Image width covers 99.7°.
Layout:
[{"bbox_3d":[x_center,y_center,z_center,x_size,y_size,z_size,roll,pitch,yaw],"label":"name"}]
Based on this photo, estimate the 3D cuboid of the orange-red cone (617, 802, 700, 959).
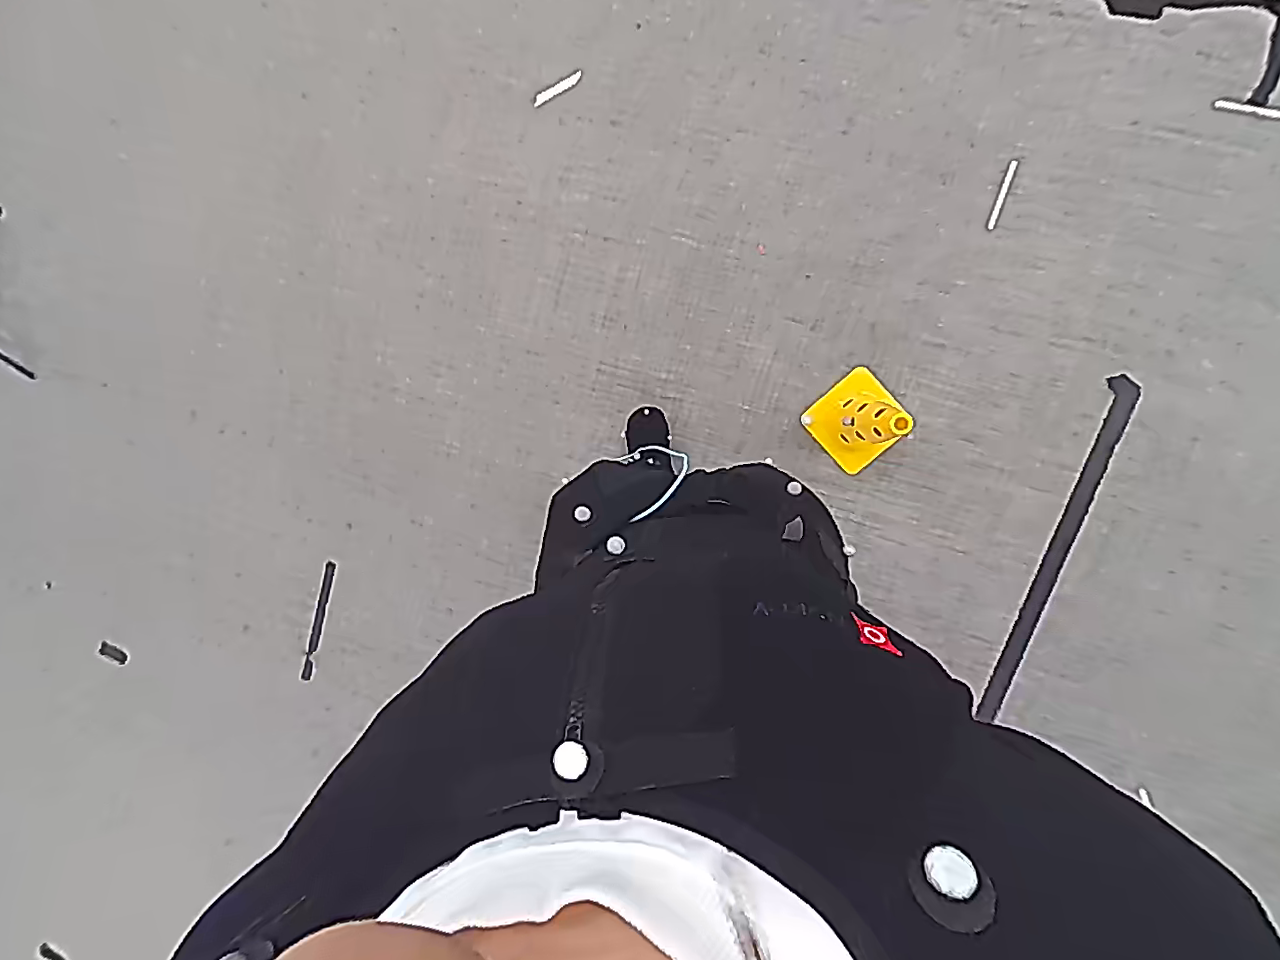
[{"bbox_3d":[0.029,1.057,1.384,0.198,0.360,0.199,24,99,4],"label":"orange-red cone"}]
